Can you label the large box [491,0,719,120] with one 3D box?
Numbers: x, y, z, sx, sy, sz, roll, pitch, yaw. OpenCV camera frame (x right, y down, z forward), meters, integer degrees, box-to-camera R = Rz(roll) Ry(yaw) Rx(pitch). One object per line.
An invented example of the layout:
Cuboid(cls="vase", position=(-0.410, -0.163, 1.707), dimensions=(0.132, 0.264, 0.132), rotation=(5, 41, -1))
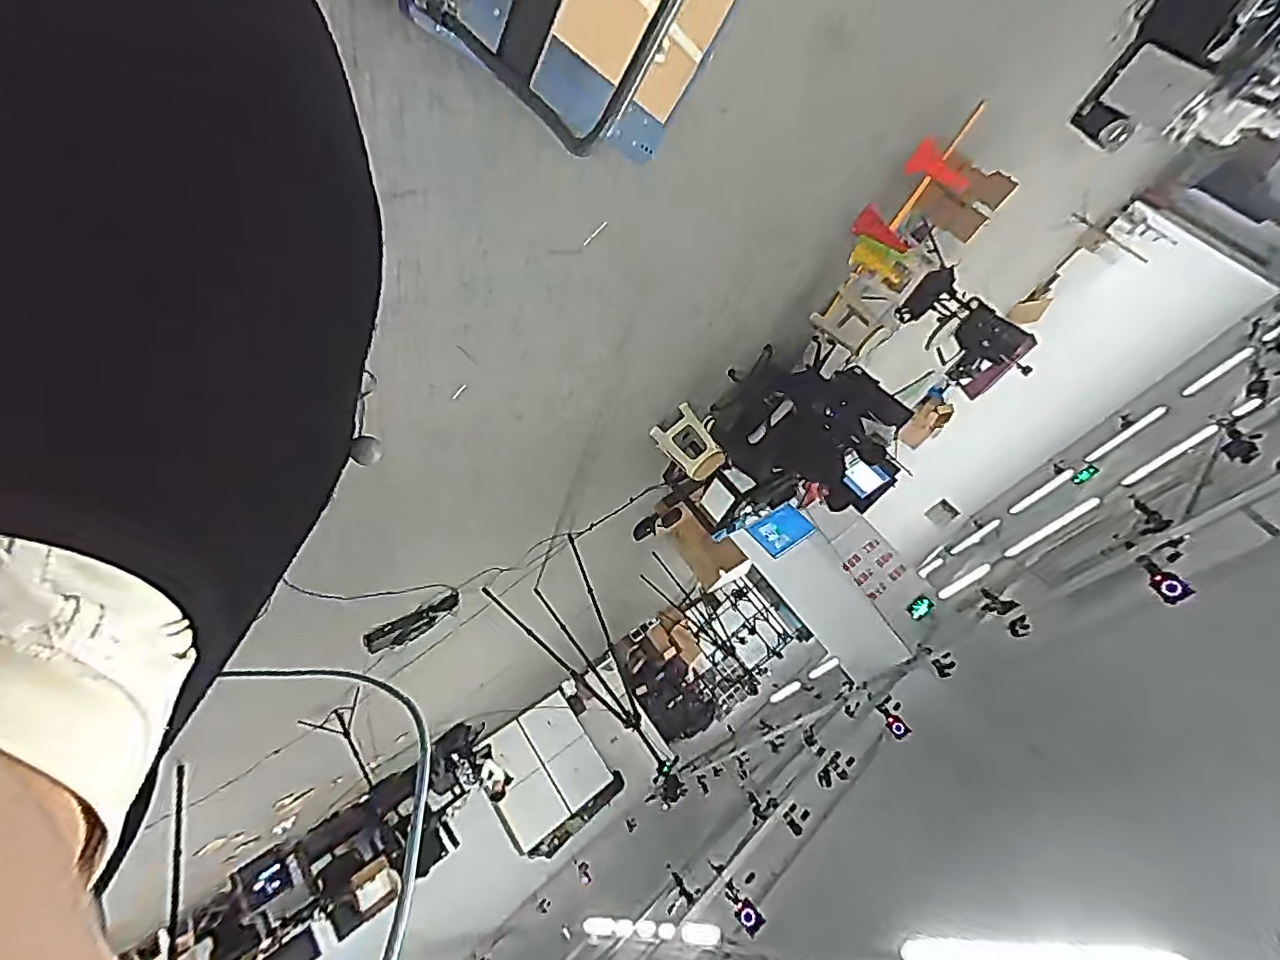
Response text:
Cuboid(cls="large box", position=(-0.095, -1.092, 1.179), dimensions=(0.408, 0.320, 0.320), rotation=(-9, 144, -55))
